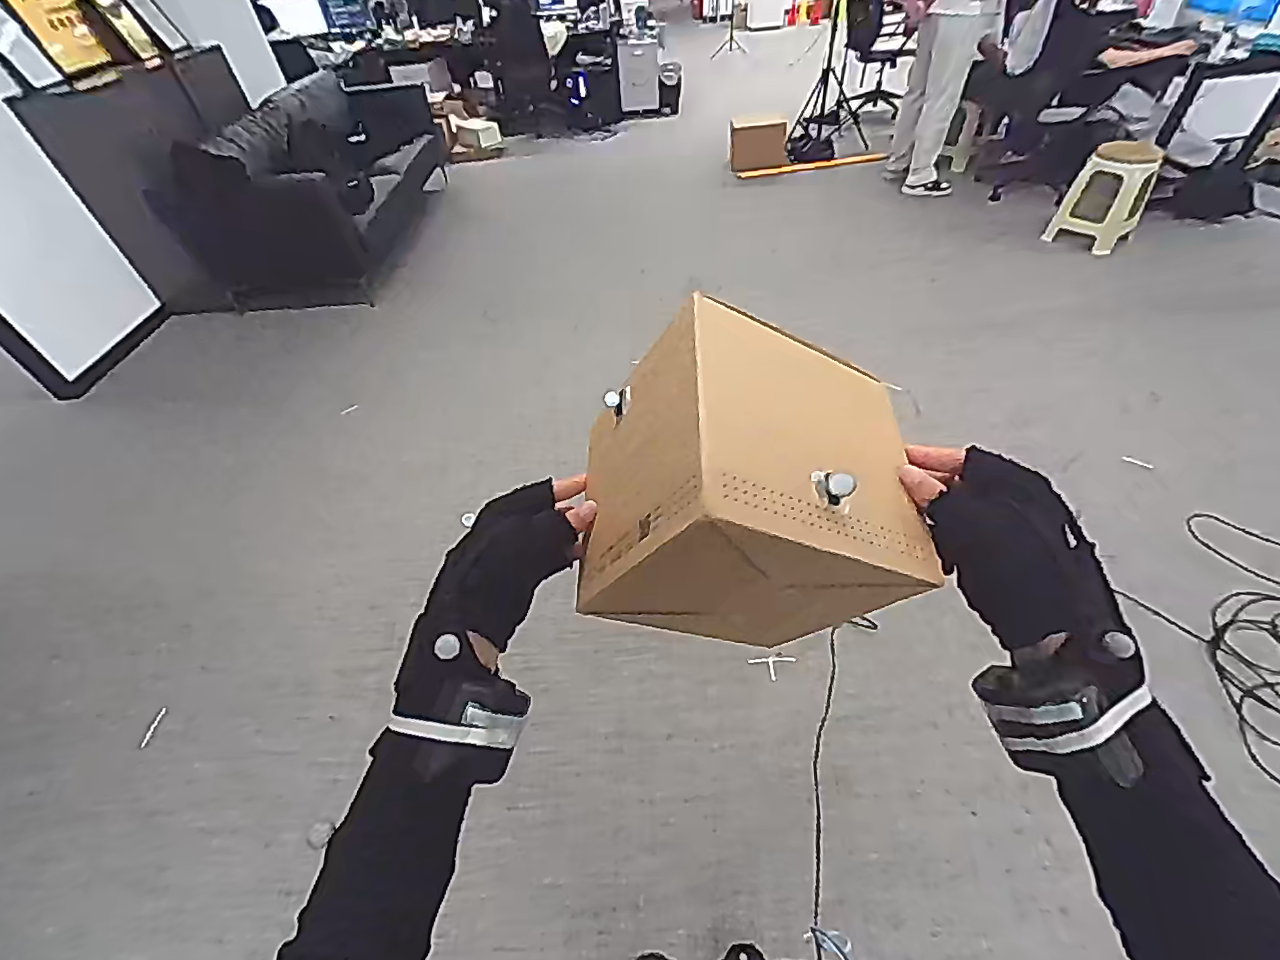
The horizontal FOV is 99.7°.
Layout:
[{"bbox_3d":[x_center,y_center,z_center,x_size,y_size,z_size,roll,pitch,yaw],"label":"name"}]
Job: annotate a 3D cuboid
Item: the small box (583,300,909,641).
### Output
[{"bbox_3d":[0.071,0.011,0.404,0.179,0.168,0.176,19,52,-23],"label":"small box"}]
